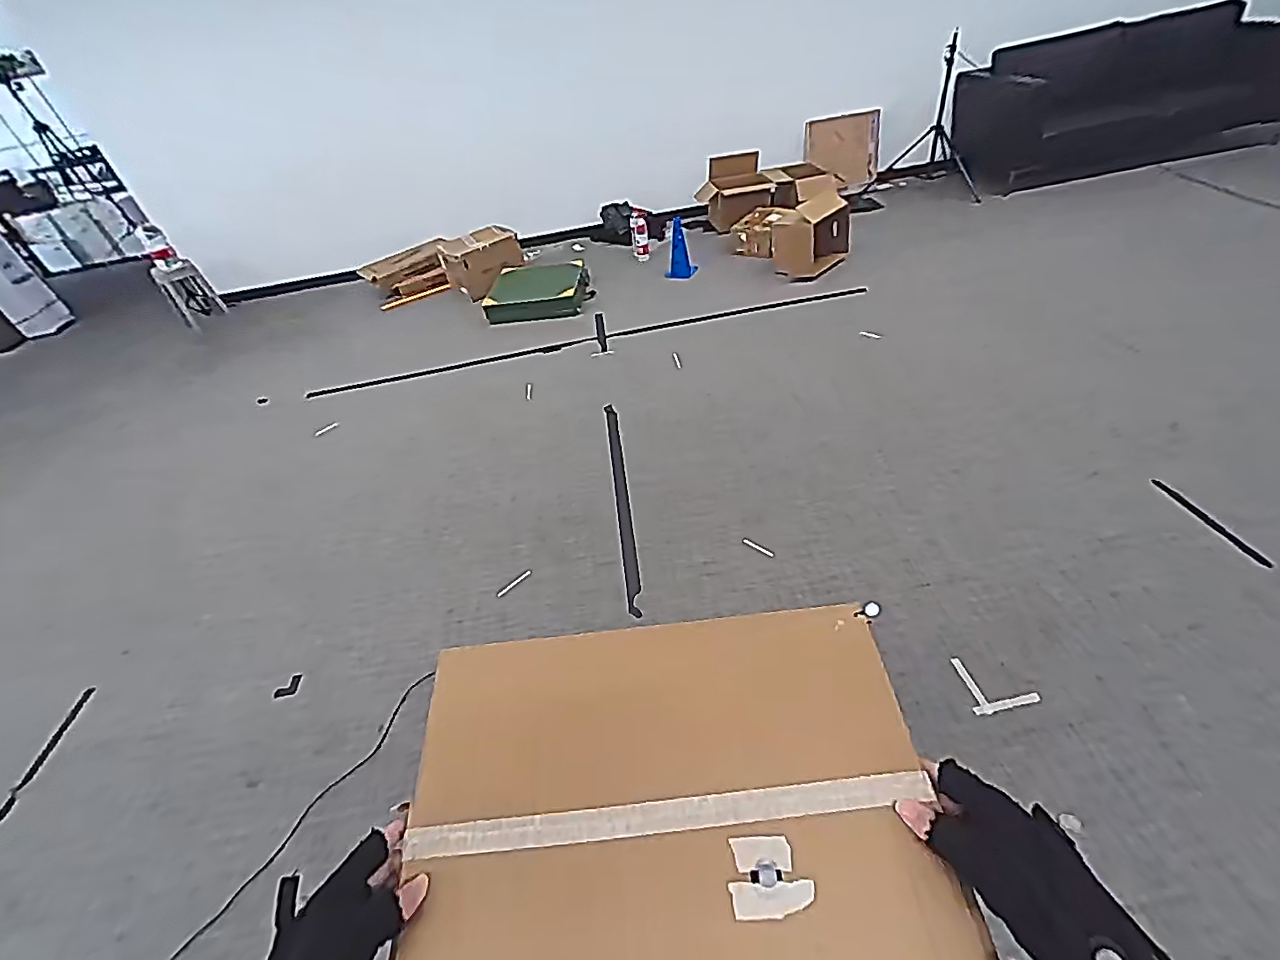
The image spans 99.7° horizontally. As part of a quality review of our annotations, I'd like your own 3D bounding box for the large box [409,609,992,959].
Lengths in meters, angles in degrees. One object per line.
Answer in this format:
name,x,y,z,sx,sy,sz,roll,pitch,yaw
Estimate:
large box,0.037,0.362,0.538,0.408,0.320,0.320,-7,50,0
